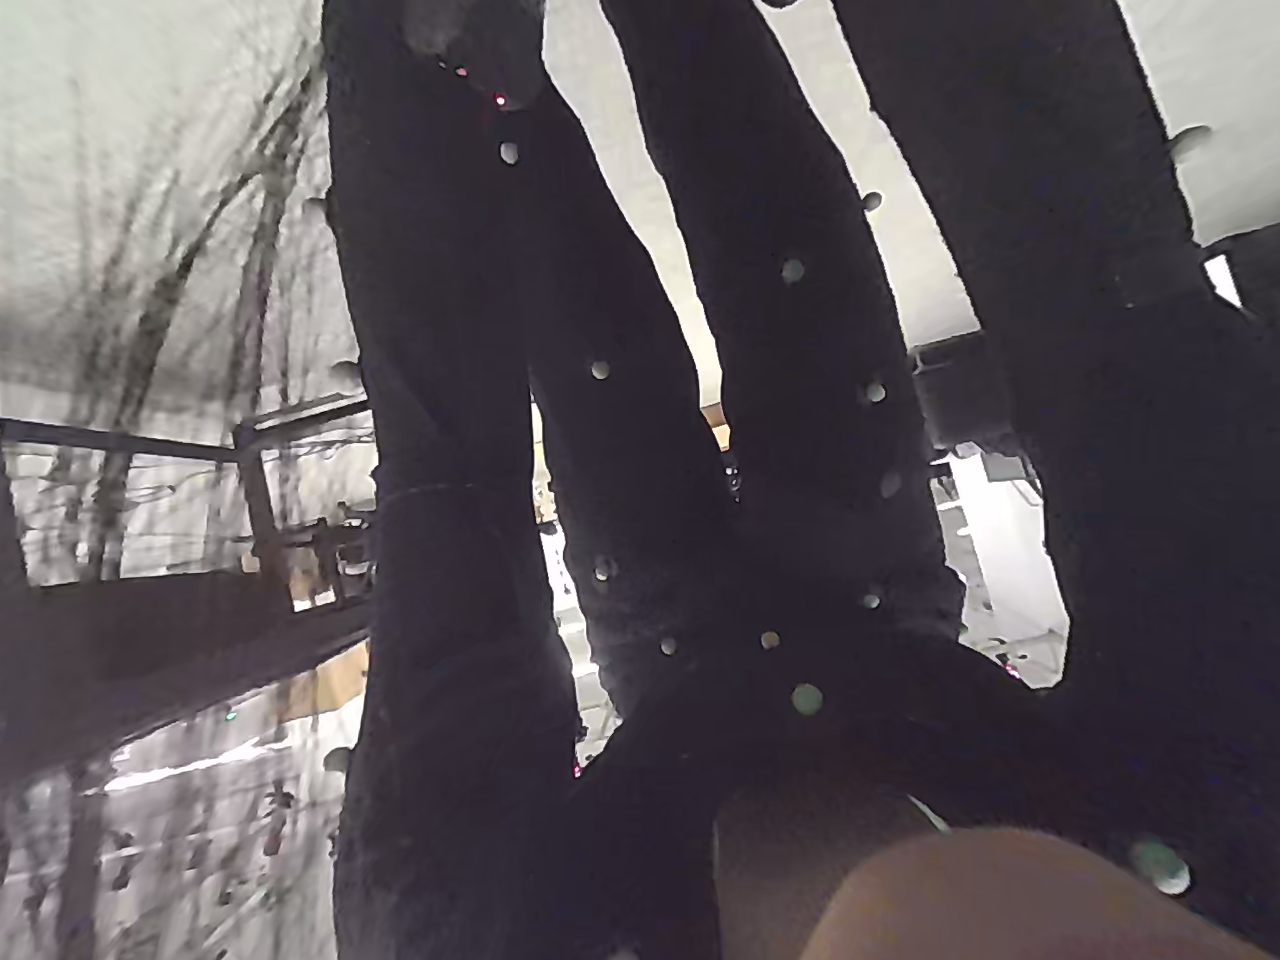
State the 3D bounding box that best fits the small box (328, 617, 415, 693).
[{"bbox_3d":[-0.816,0.523,1.637,0.179,0.176,0.168,-14,175,4],"label":"small box"}]
